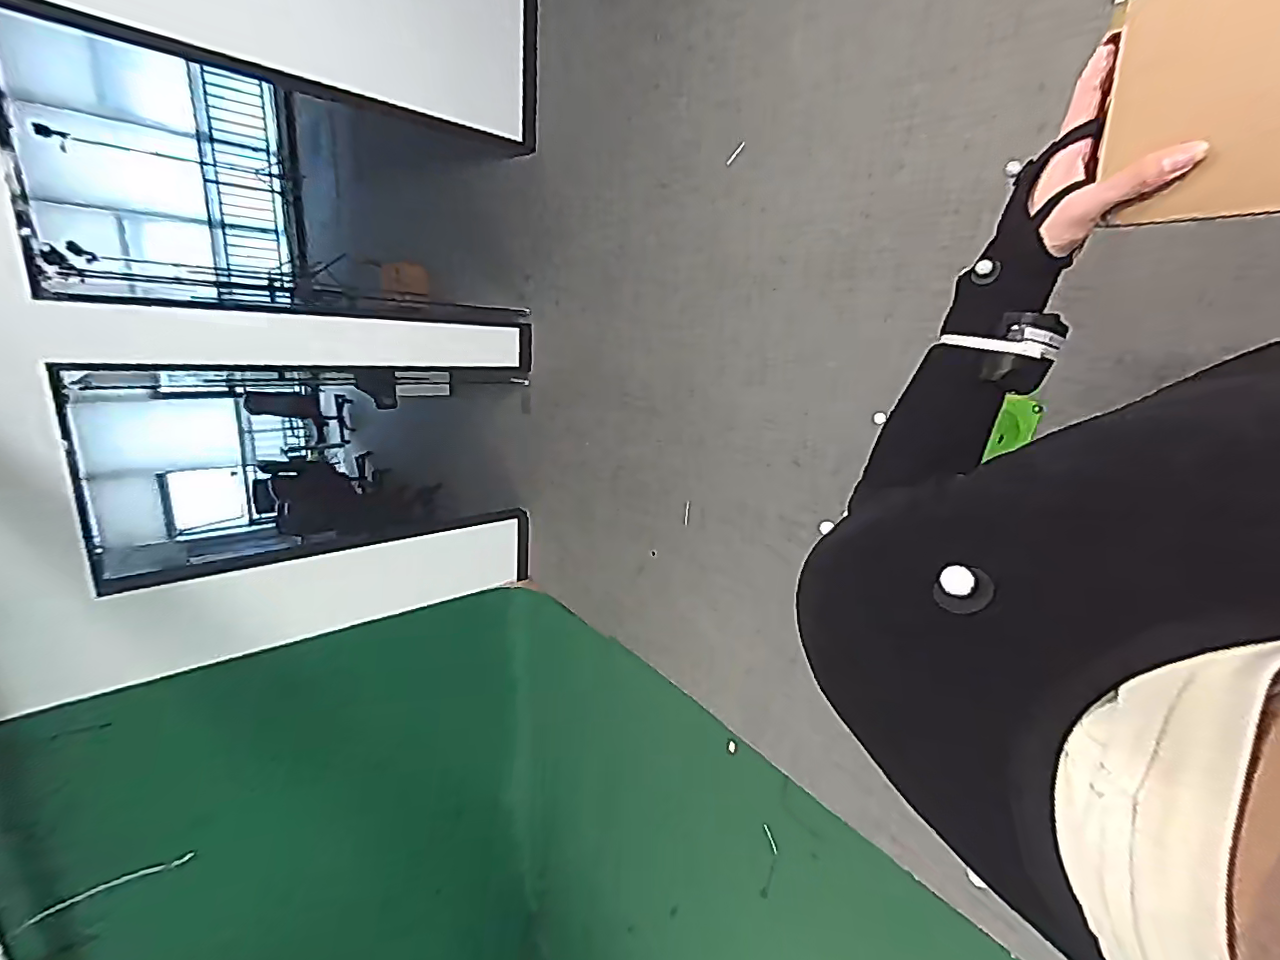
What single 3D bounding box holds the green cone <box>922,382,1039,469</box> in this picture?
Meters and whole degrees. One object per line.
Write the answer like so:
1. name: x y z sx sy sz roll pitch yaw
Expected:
1. green cone: 0.801 -0.122 1.349 0.200 0.368 0.202 30 121 44
